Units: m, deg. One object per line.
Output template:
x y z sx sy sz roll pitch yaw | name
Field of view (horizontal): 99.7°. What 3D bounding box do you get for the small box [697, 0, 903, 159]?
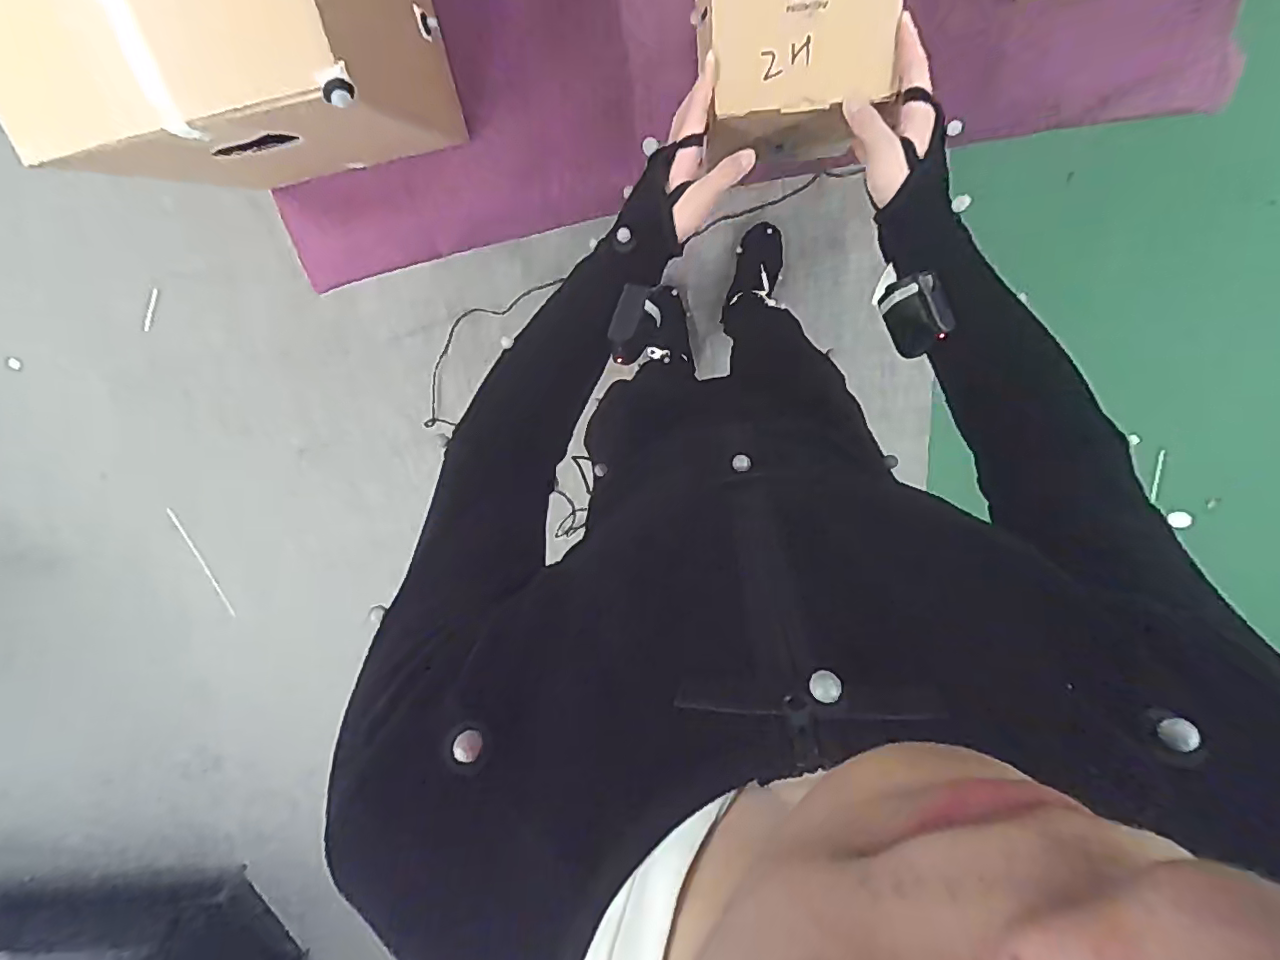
0.145 -0.447 0.538 0.168 0.176 0.179 -3 106 4 | small box
